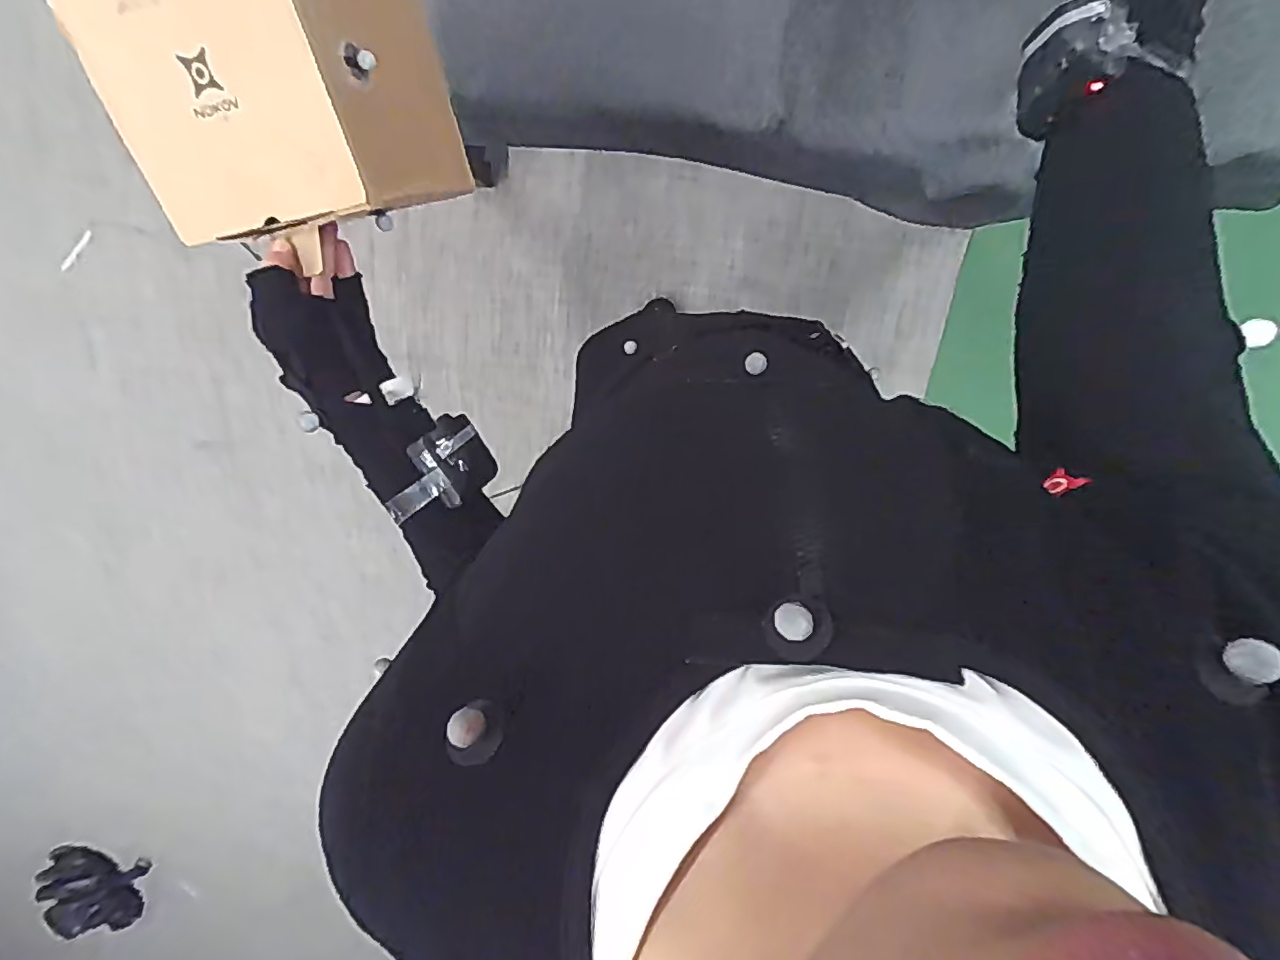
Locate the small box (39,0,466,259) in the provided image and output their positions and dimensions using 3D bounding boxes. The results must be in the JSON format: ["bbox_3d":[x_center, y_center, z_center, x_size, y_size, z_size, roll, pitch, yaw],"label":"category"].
[{"bbox_3d":[-0.259,-0.284,0.406,0.168,0.176,0.179,-6,118,14],"label":"small box"}]
